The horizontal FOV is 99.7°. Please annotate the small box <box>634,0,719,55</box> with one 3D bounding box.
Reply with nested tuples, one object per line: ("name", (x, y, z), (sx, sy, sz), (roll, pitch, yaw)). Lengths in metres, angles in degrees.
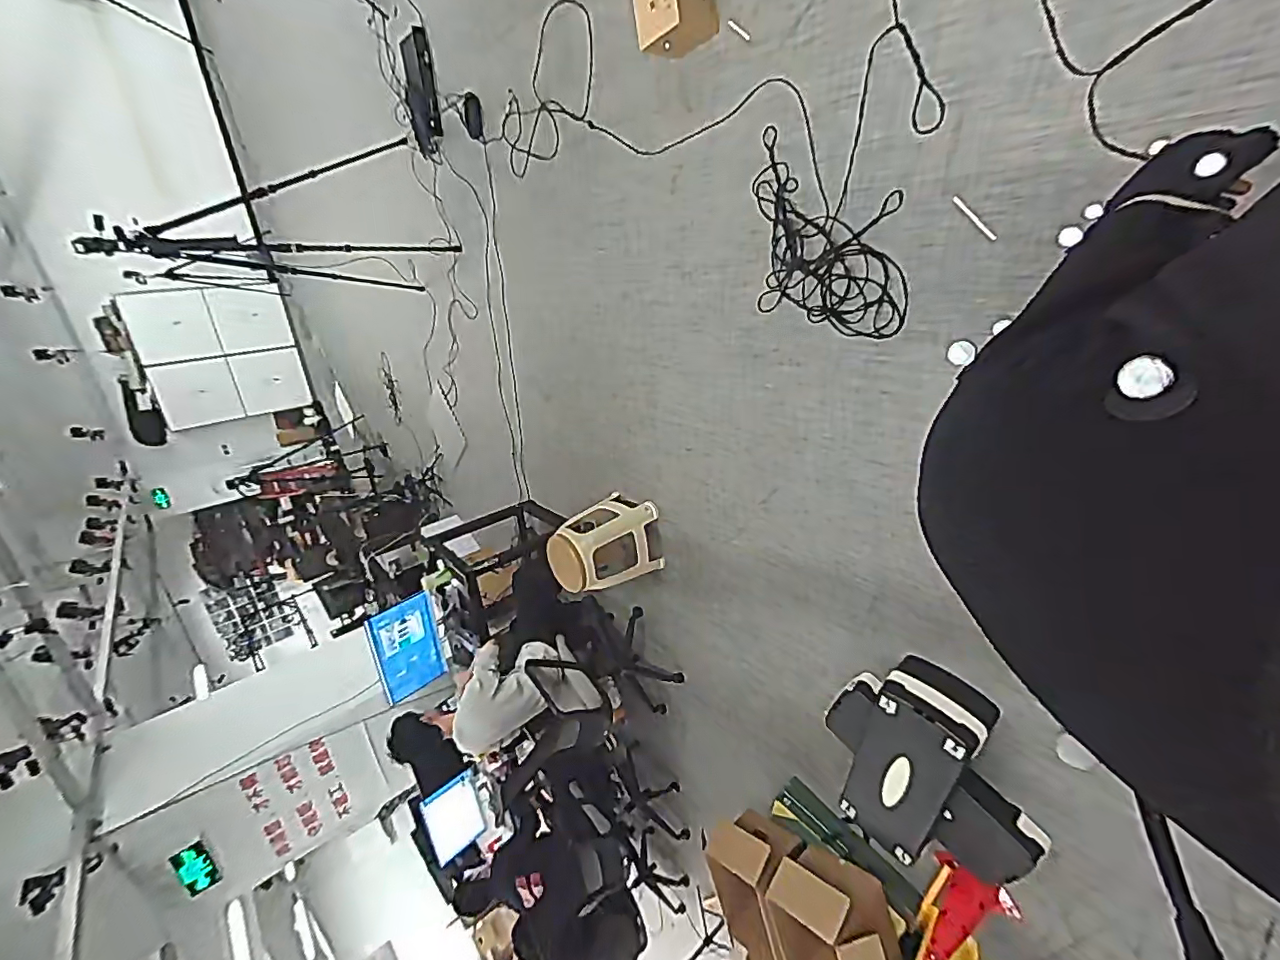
("small box", (0.105, -1.386, 1.585), (0.179, 0.176, 0.168), (11, 118, 49))
